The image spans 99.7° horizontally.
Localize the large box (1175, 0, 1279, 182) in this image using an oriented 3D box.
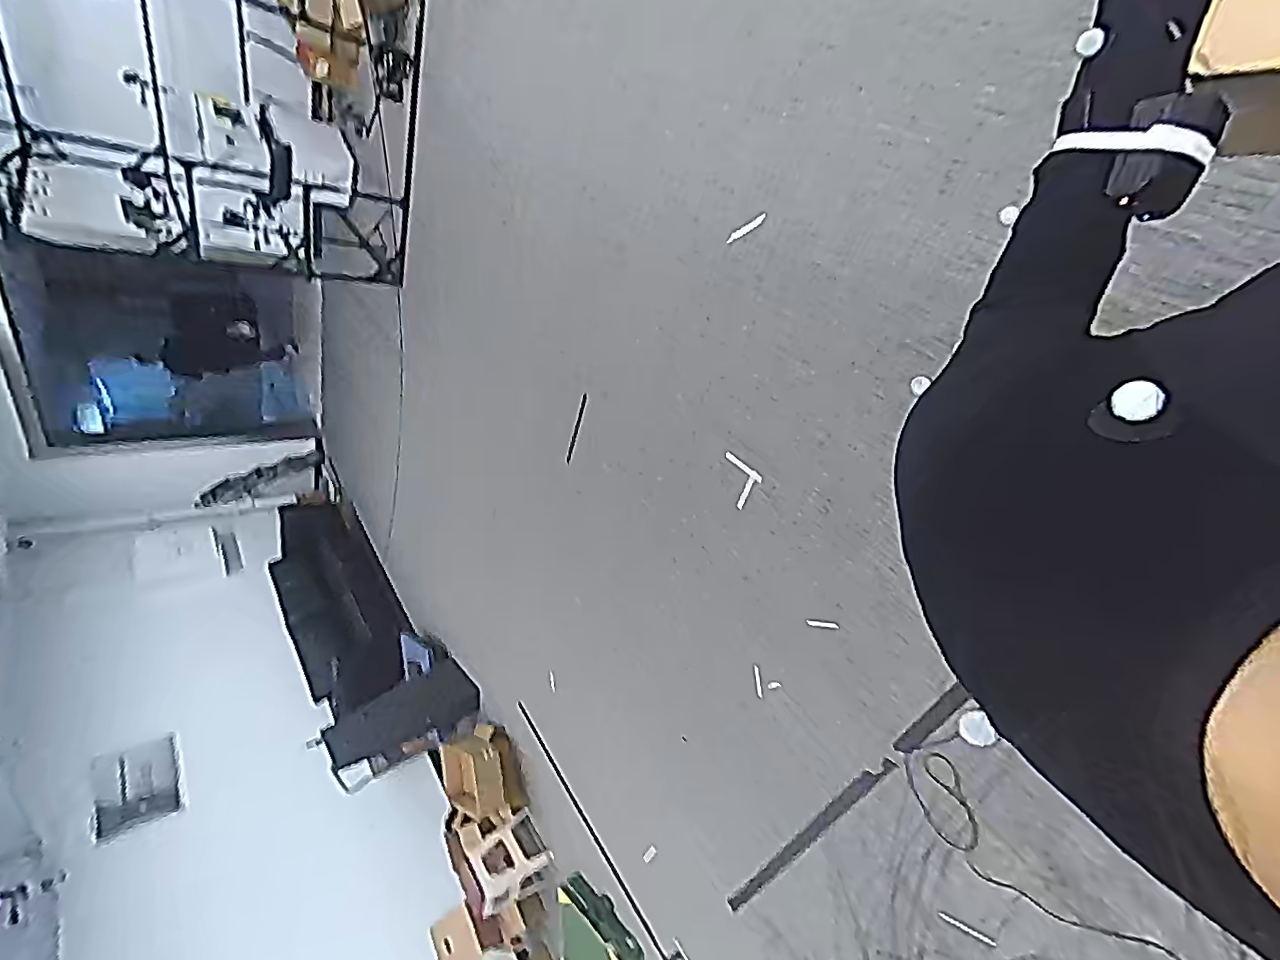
[{"bbox_3d":[0.611,-0.361,0.279,0.408,0.320,0.320,25,120,41],"label":"large box"}]
